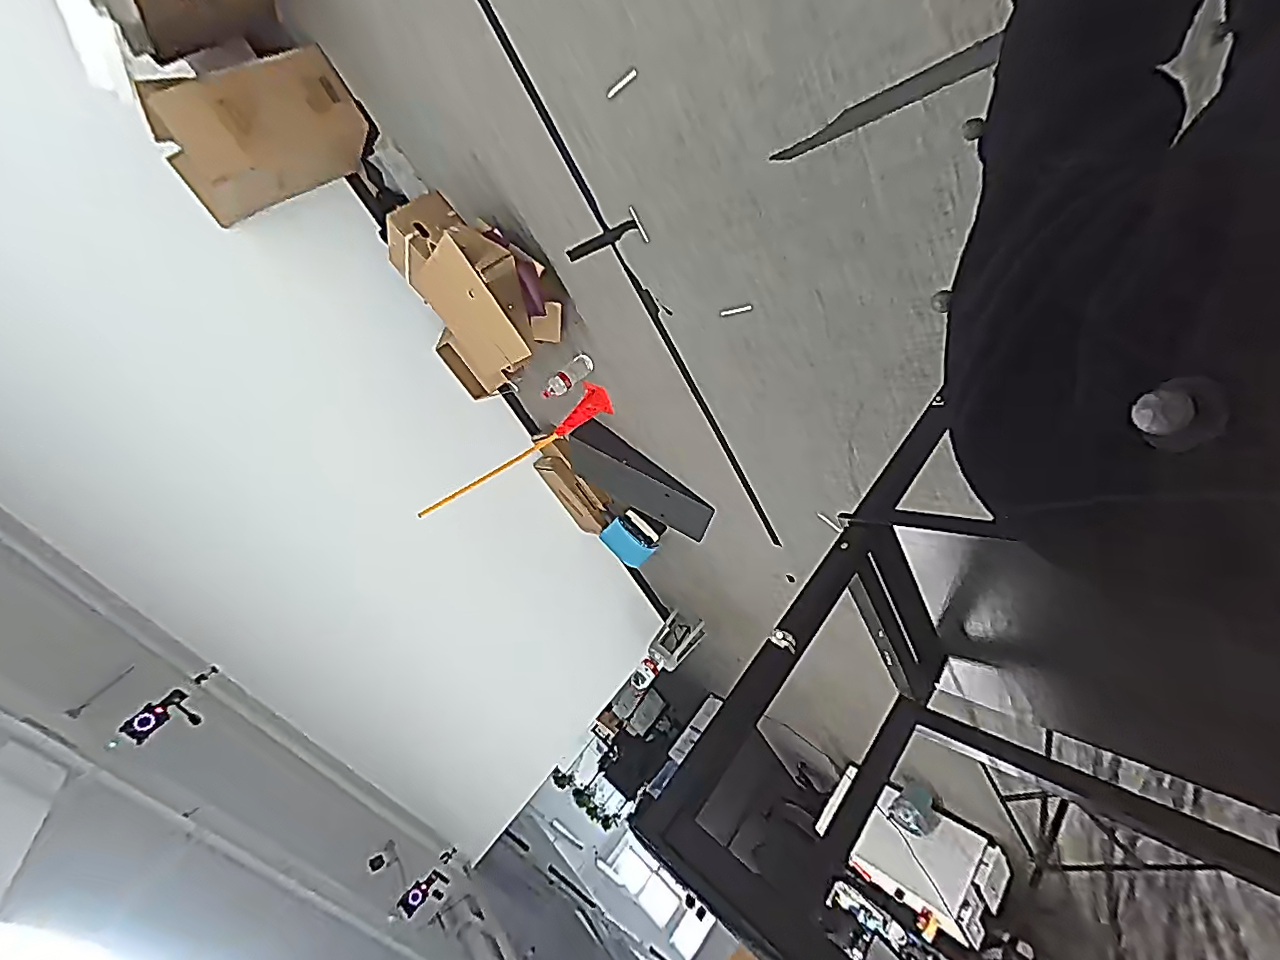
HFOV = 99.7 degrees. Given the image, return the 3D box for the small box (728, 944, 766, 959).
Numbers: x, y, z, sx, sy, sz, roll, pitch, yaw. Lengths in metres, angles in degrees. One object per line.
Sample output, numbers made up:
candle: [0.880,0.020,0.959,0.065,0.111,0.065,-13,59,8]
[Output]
small box: [0.169,0.739,0.667,0.168,0.176,0.179,8,137,52]
